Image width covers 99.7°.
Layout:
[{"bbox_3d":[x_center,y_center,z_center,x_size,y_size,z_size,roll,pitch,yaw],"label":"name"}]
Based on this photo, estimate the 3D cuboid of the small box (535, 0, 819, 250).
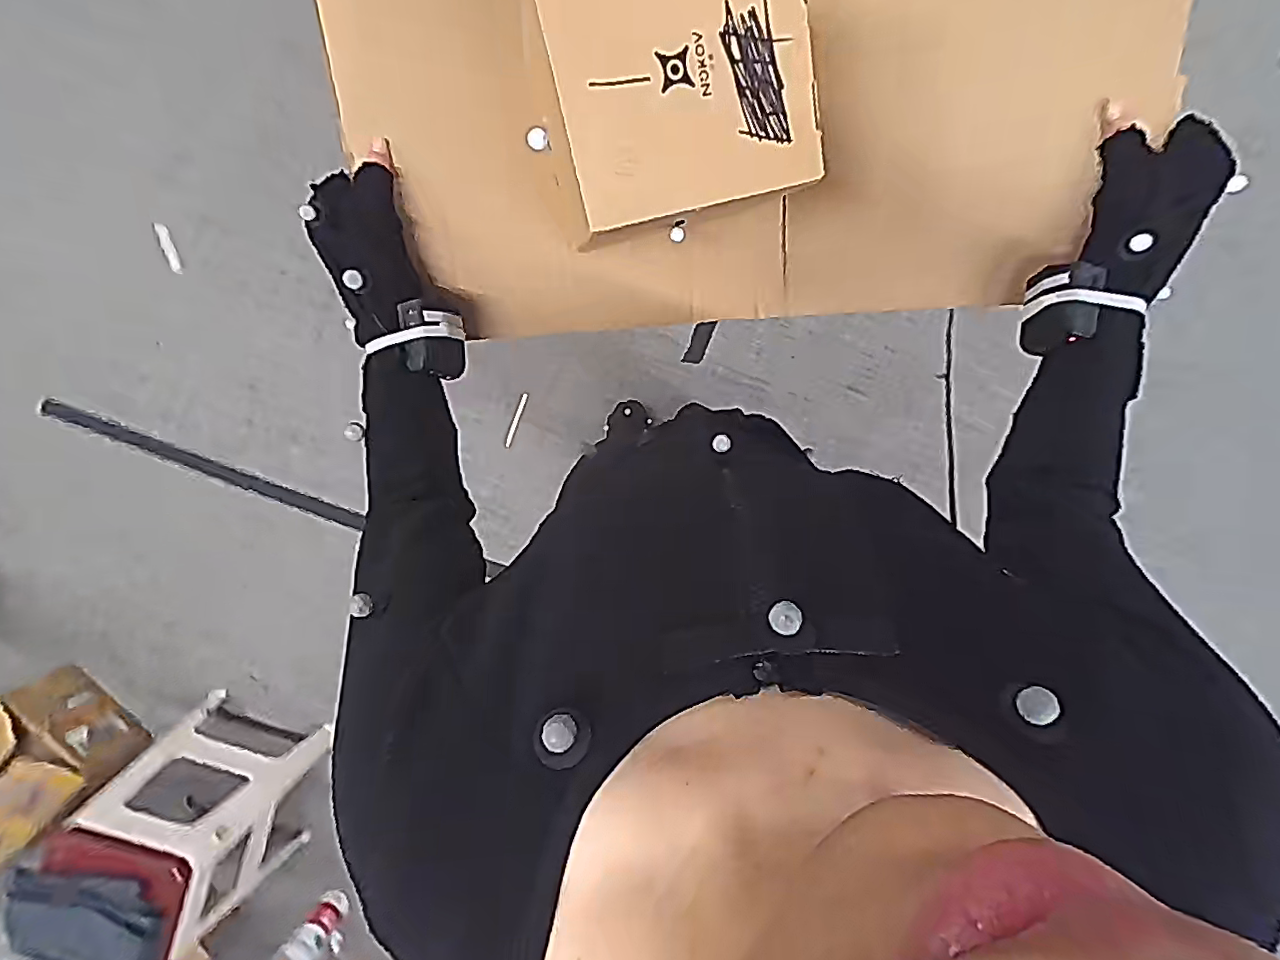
[{"bbox_3d":[0.019,-0.294,0.437,0.179,0.176,0.168,-15,110,-6],"label":"small box"}]
